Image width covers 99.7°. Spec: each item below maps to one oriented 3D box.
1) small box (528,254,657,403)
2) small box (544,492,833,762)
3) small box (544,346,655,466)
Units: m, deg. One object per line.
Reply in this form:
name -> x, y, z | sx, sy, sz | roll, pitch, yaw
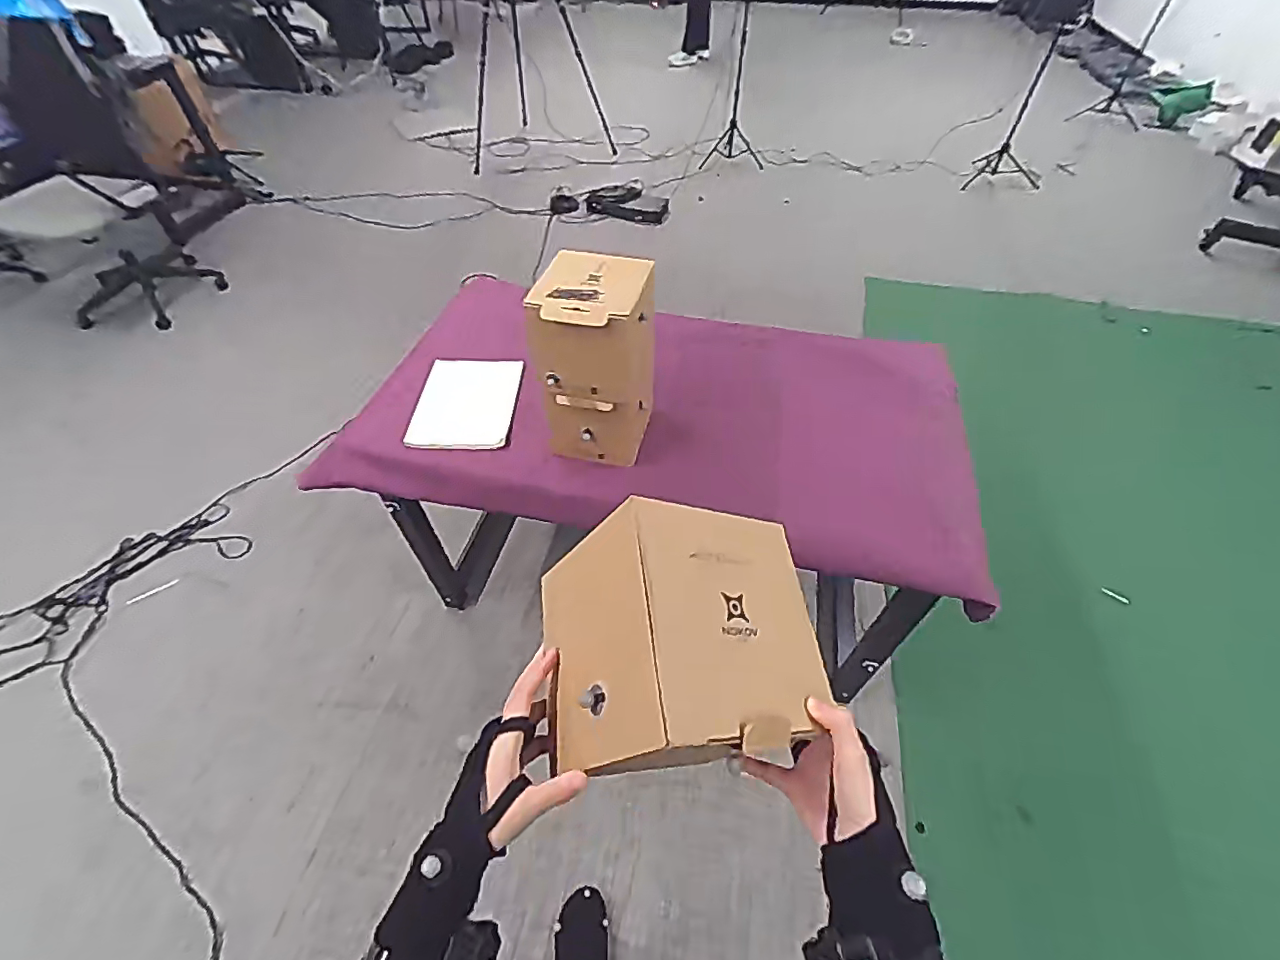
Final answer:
small box -> -0.069, -0.252, 0.909 | 0.168, 0.176, 0.179 | 11, 49, 9
small box -> 0.026, 0.137, 0.467 | 0.168, 0.176, 0.179 | 13, 52, -31
small box -> -0.068, -0.150, 1.039 | 0.168, 0.176, 0.179 | 11, 51, 9
